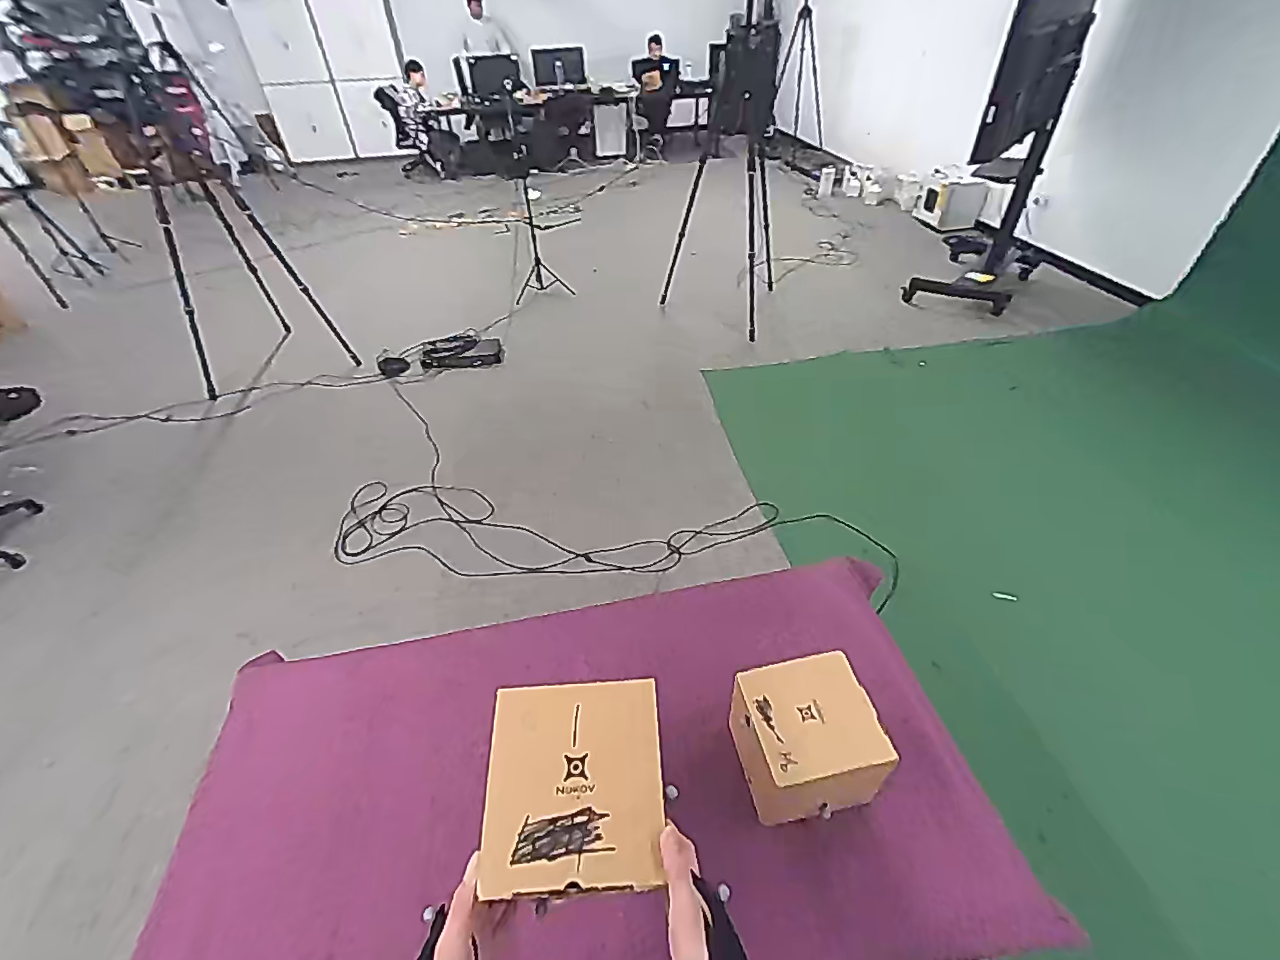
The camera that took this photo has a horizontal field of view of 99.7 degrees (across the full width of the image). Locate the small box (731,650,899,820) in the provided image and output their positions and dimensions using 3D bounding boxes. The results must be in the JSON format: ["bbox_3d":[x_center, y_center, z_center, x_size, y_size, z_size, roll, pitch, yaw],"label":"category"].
[{"bbox_3d":[0.249,0.385,0.819,0.179,0.176,0.168,-9,42,-7],"label":"small box"}]

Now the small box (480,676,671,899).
[{"bbox_3d":[-0.054,0.322,0.565,0.168,0.176,0.179,-3,51,-1],"label":"small box"}]
